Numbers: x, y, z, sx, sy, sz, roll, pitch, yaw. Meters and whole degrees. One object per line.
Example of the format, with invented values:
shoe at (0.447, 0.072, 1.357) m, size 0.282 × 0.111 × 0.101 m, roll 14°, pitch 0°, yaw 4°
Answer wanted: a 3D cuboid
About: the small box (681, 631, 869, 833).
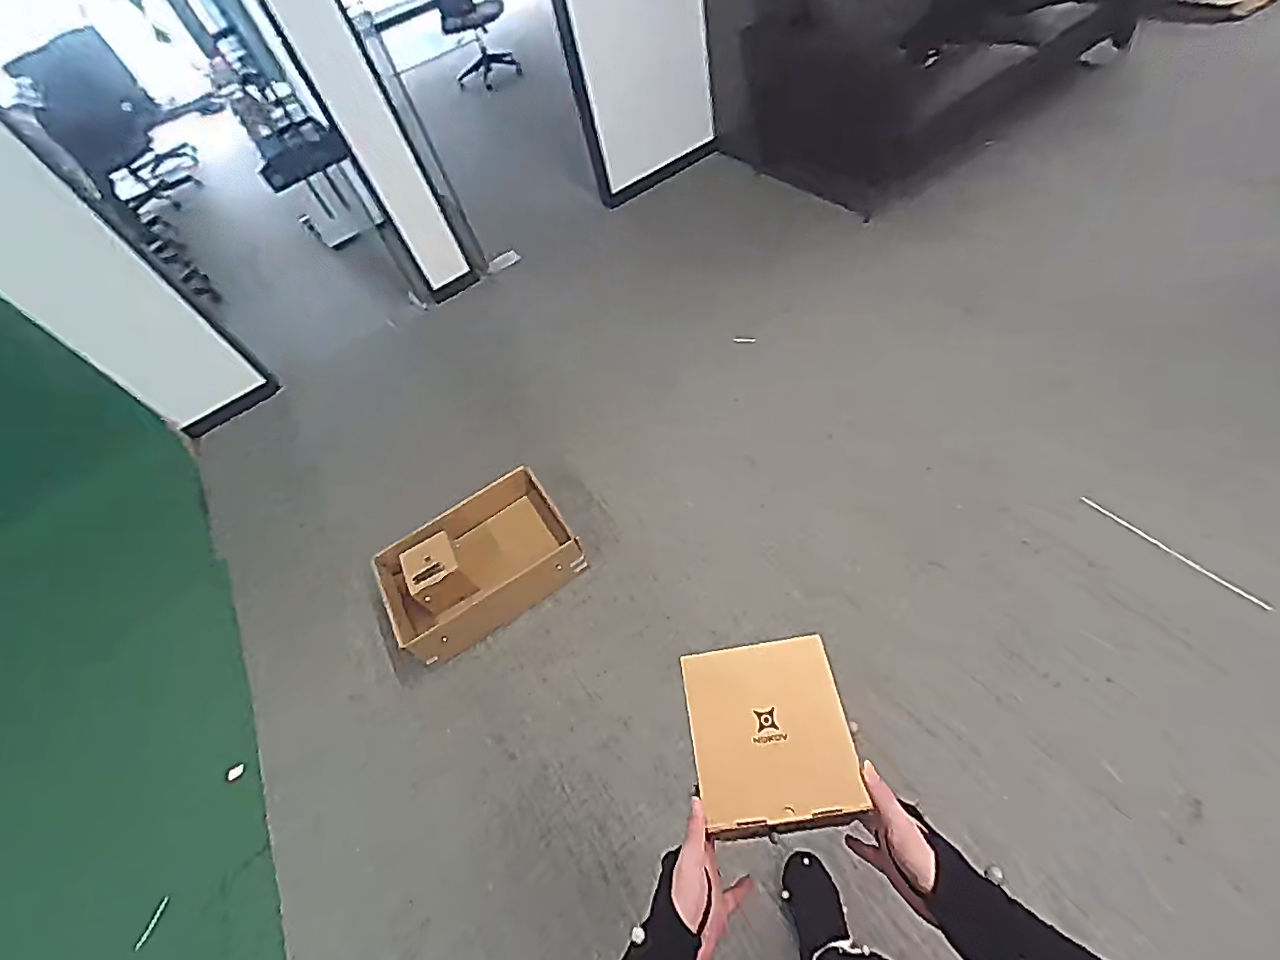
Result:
small box at (0.145, 0.302, 0.641) m, size 0.168 × 0.176 × 0.179 m, roll -11°, pitch 54°, yaw 4°
